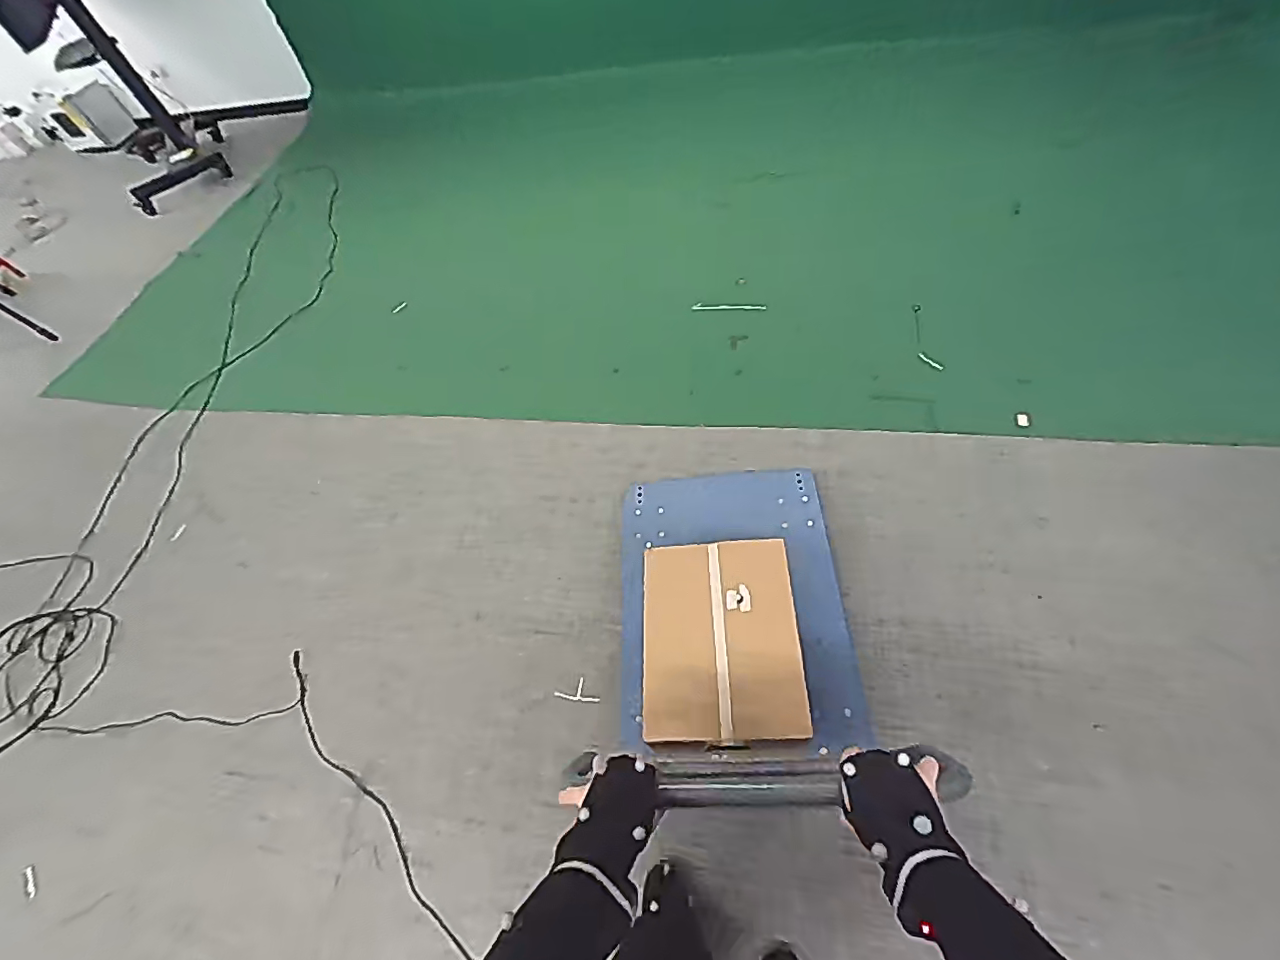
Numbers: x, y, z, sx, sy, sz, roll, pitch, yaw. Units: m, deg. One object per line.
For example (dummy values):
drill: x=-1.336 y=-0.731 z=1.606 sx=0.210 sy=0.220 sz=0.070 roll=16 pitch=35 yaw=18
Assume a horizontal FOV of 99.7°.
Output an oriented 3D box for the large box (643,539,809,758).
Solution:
large box: x=0.186 y=0.393 z=1.242 sx=0.320 sy=0.320 sz=0.408 roll=-5 pitch=55 yaw=8
